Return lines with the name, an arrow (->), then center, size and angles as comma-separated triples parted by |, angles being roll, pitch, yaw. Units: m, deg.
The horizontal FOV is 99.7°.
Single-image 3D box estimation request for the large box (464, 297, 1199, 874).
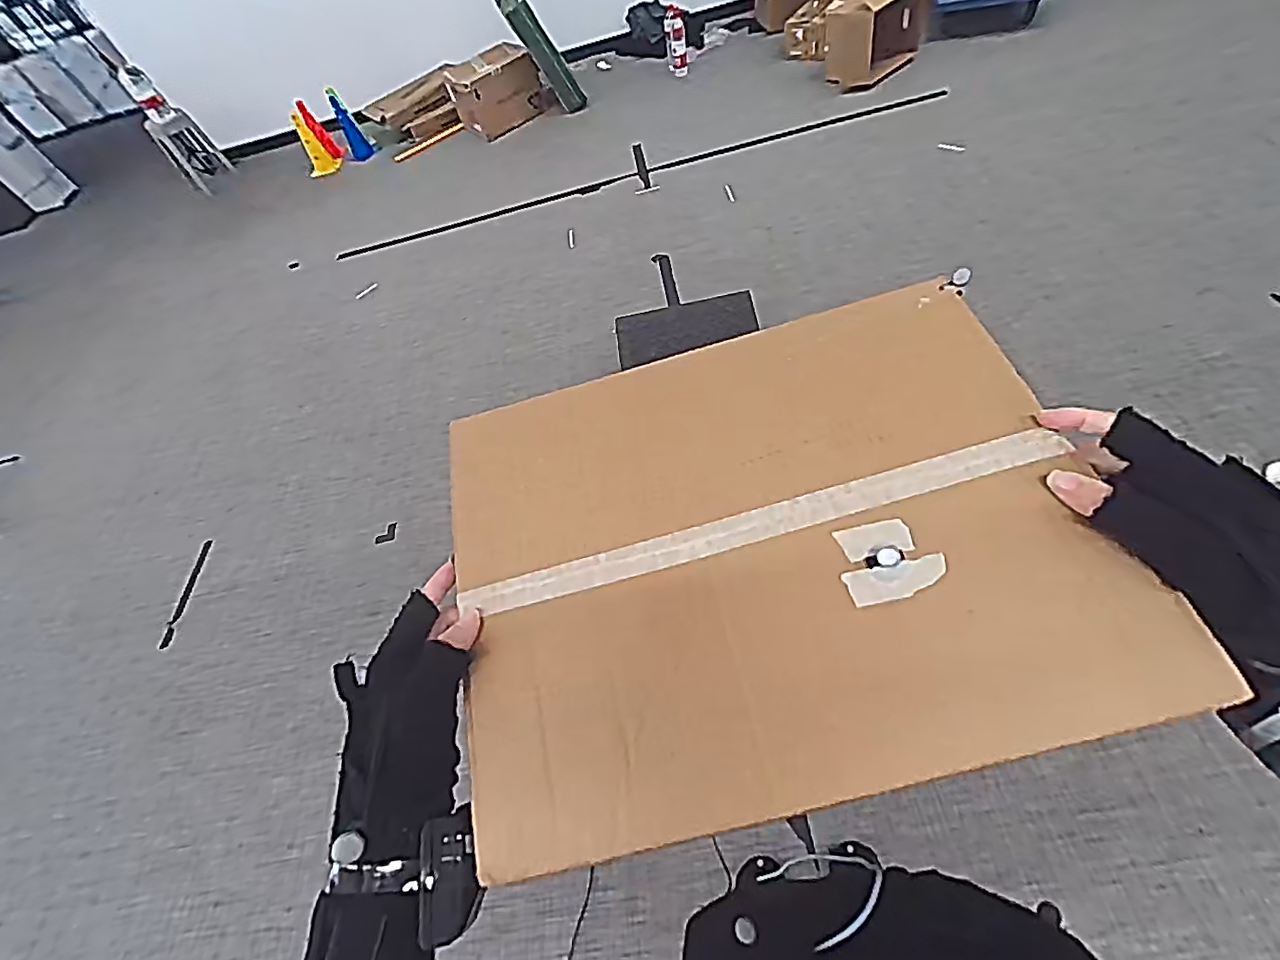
large box -> 0.101, 0.105, 0.496 | 0.408, 0.320, 0.320 | -16, 62, 2
